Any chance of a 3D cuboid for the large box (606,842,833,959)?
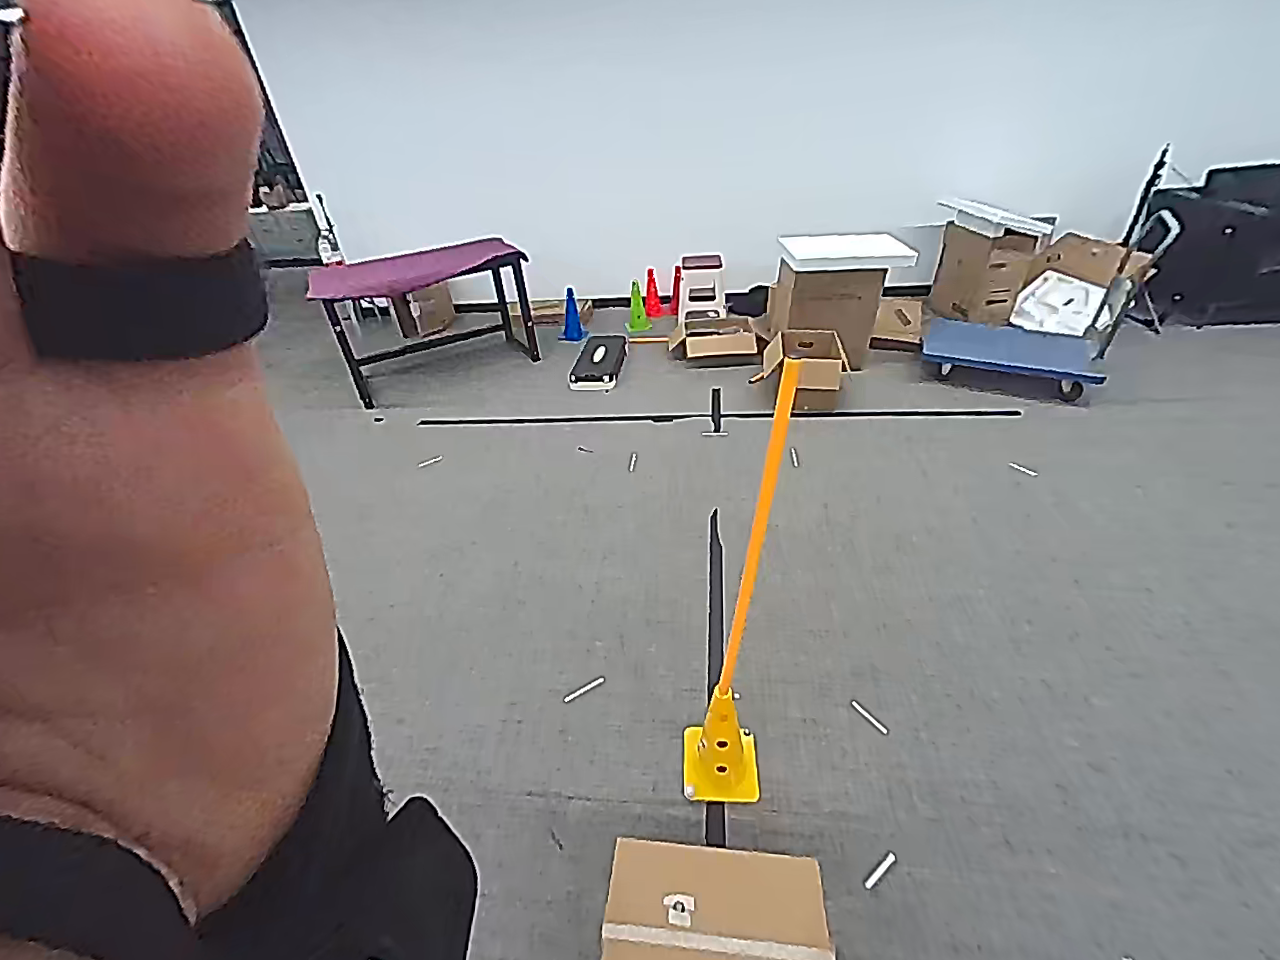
[{"bbox_3d":[0.153,0.952,1.050,0.408,0.320,0.320,0,34,8],"label":"large box"}]
